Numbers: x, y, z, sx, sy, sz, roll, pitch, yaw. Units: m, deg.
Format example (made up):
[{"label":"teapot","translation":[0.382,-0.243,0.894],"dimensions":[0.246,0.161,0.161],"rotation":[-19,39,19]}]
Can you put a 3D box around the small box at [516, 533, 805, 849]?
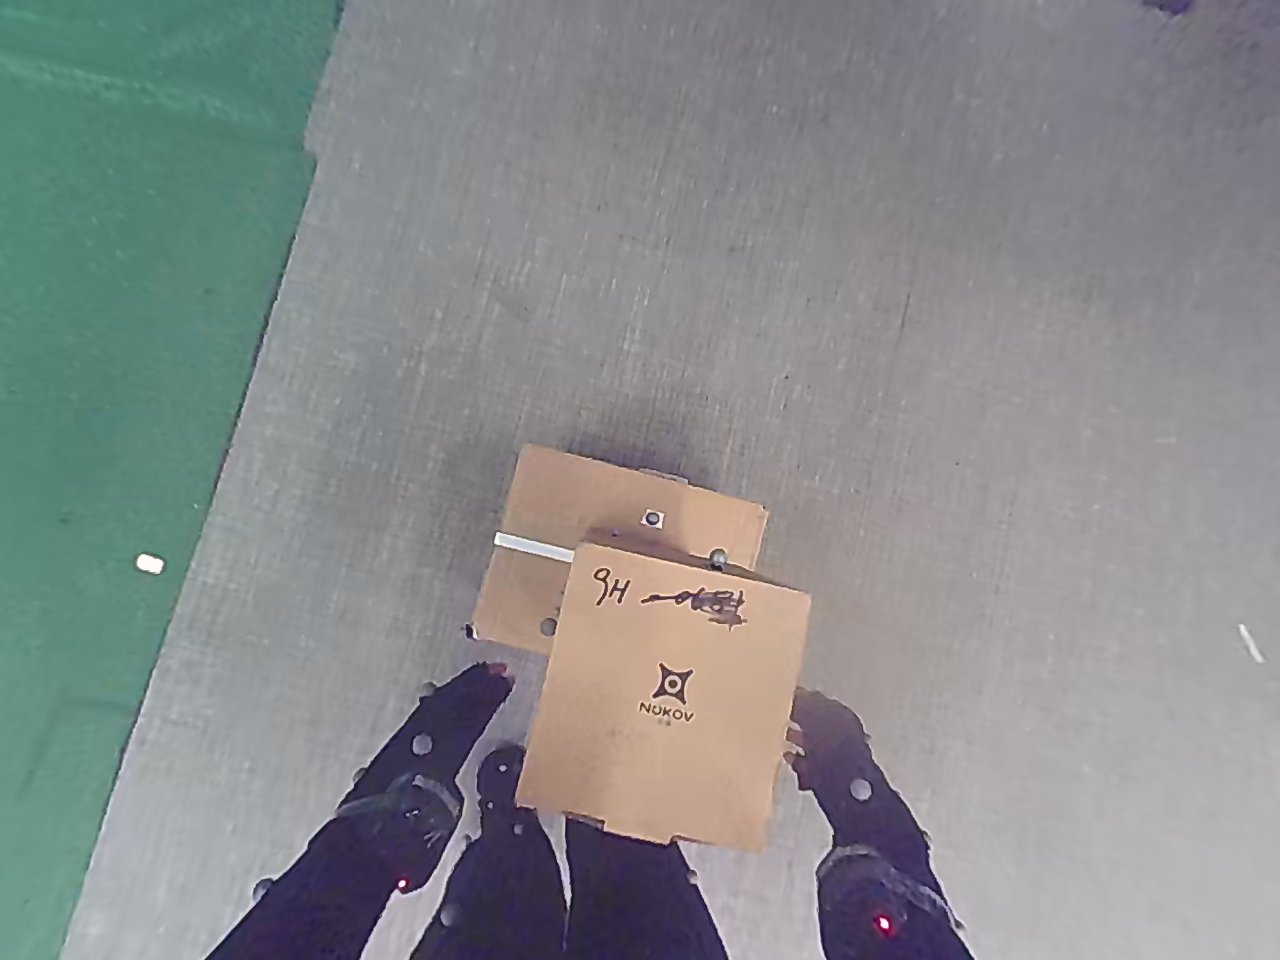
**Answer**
[{"label":"small box","translation":[0.012,0.147,0.438],"dimensions":[0.168,0.176,0.179],"rotation":[12,86,-2]}]
